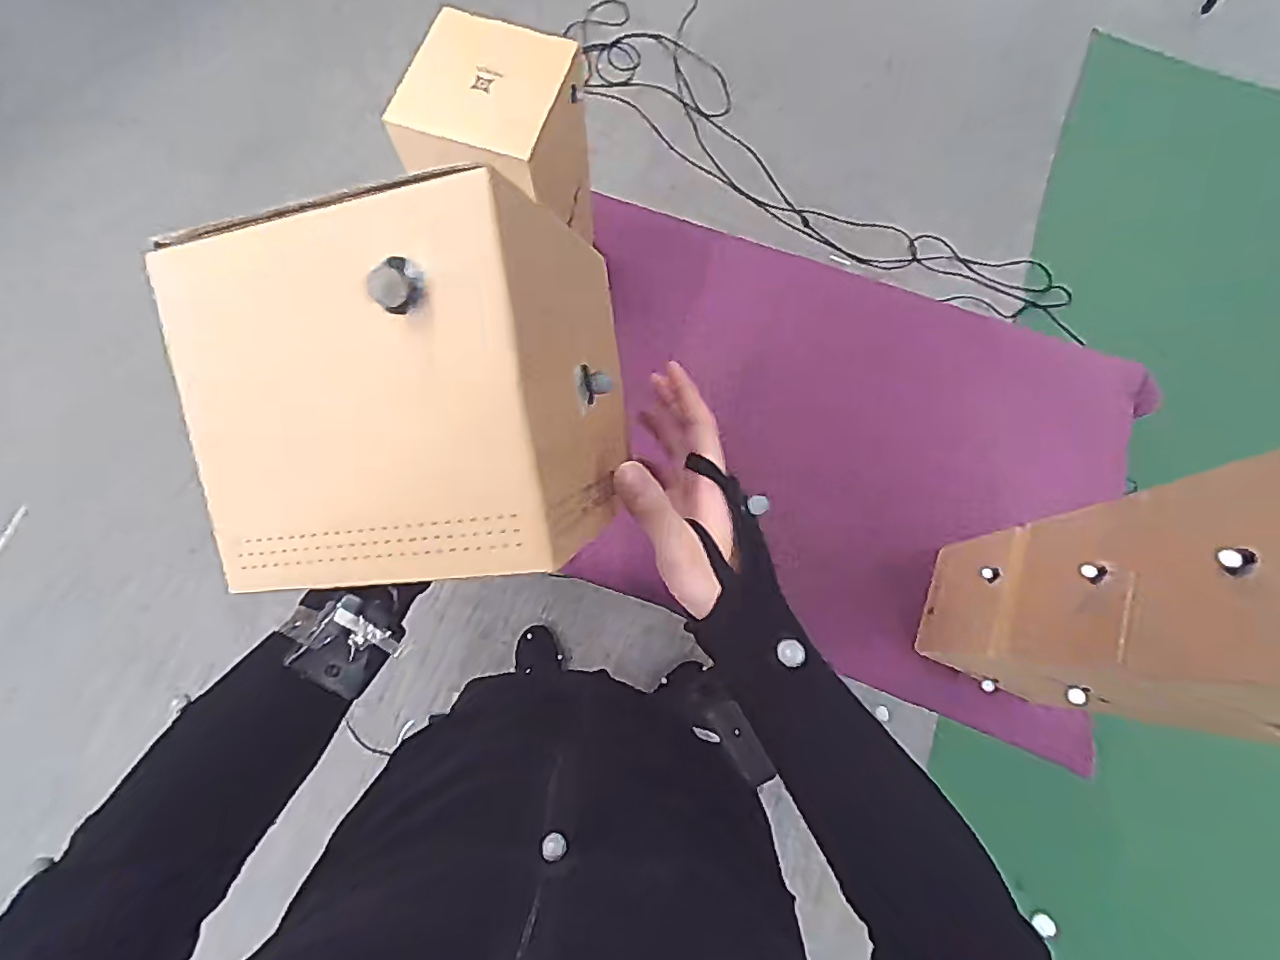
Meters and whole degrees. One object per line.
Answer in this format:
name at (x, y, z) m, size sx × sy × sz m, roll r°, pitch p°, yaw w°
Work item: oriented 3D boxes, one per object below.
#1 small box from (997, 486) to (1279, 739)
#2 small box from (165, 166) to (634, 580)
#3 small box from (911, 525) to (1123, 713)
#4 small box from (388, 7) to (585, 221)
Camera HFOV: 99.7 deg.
small box at (0.508, 0.133, 0.554) m, size 0.168 × 0.176 × 0.179 m, roll 23°, pitch 75°, yaw 6°
small box at (-0.110, -0.048, 0.317) m, size 0.179 × 0.168 × 0.176 m, roll -6°, pitch 98°, yaw 14°
small box at (0.499, 0.178, 0.710) m, size 0.179 × 0.176 × 0.168 m, roll 23°, pitch 75°, yaw 4°
small box at (-0.171, -0.418, 0.671) m, size 0.168 × 0.176 × 0.179 m, roll 17°, pitch 75°, yaw 2°
